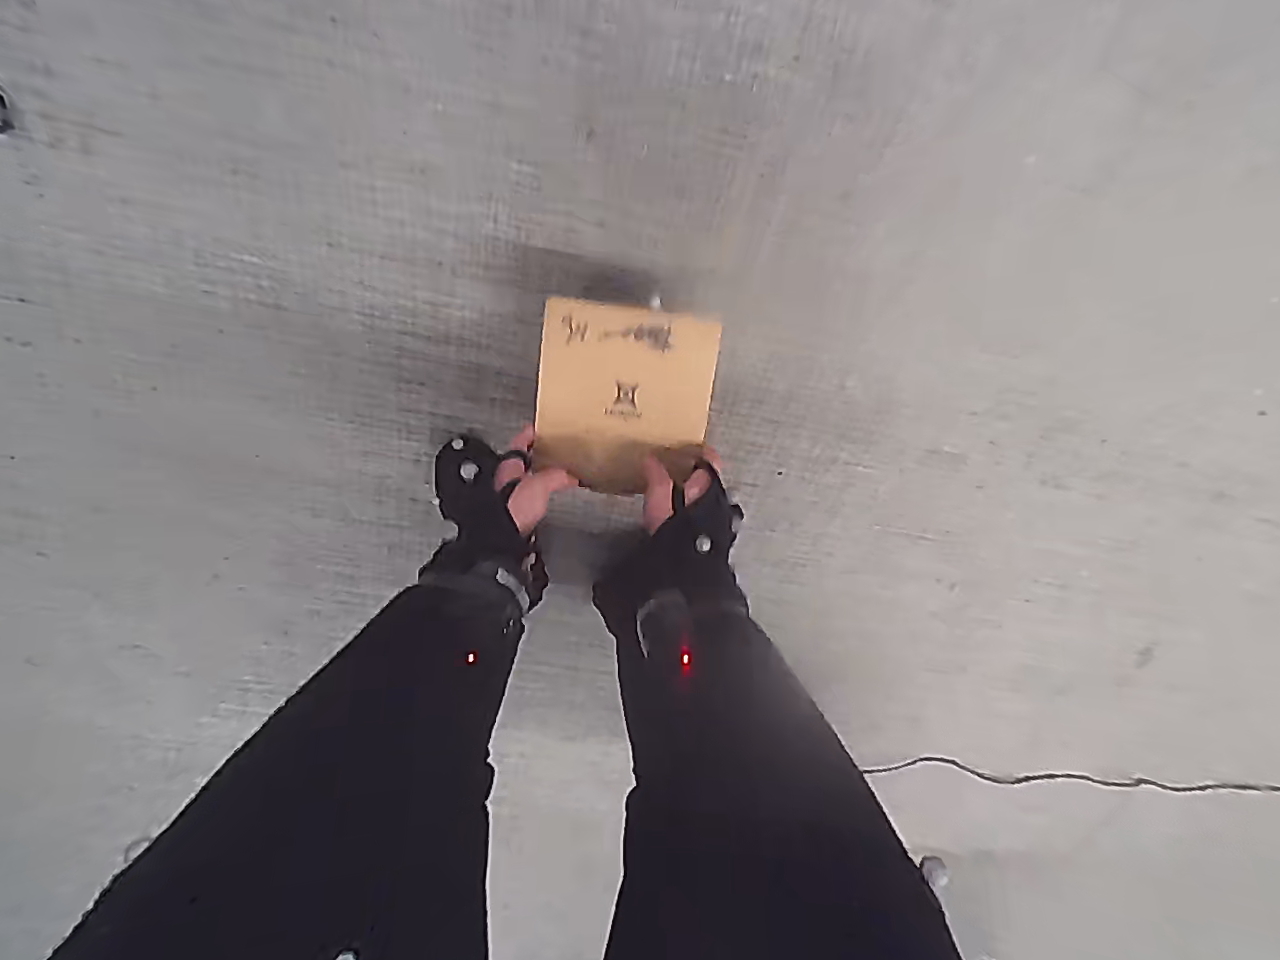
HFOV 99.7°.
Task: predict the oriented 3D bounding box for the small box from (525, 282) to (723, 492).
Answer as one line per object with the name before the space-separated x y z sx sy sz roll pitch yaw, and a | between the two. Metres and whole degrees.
small box | -0.019 -0.104 0.581 0.168 0.176 0.179 8 105 -4
